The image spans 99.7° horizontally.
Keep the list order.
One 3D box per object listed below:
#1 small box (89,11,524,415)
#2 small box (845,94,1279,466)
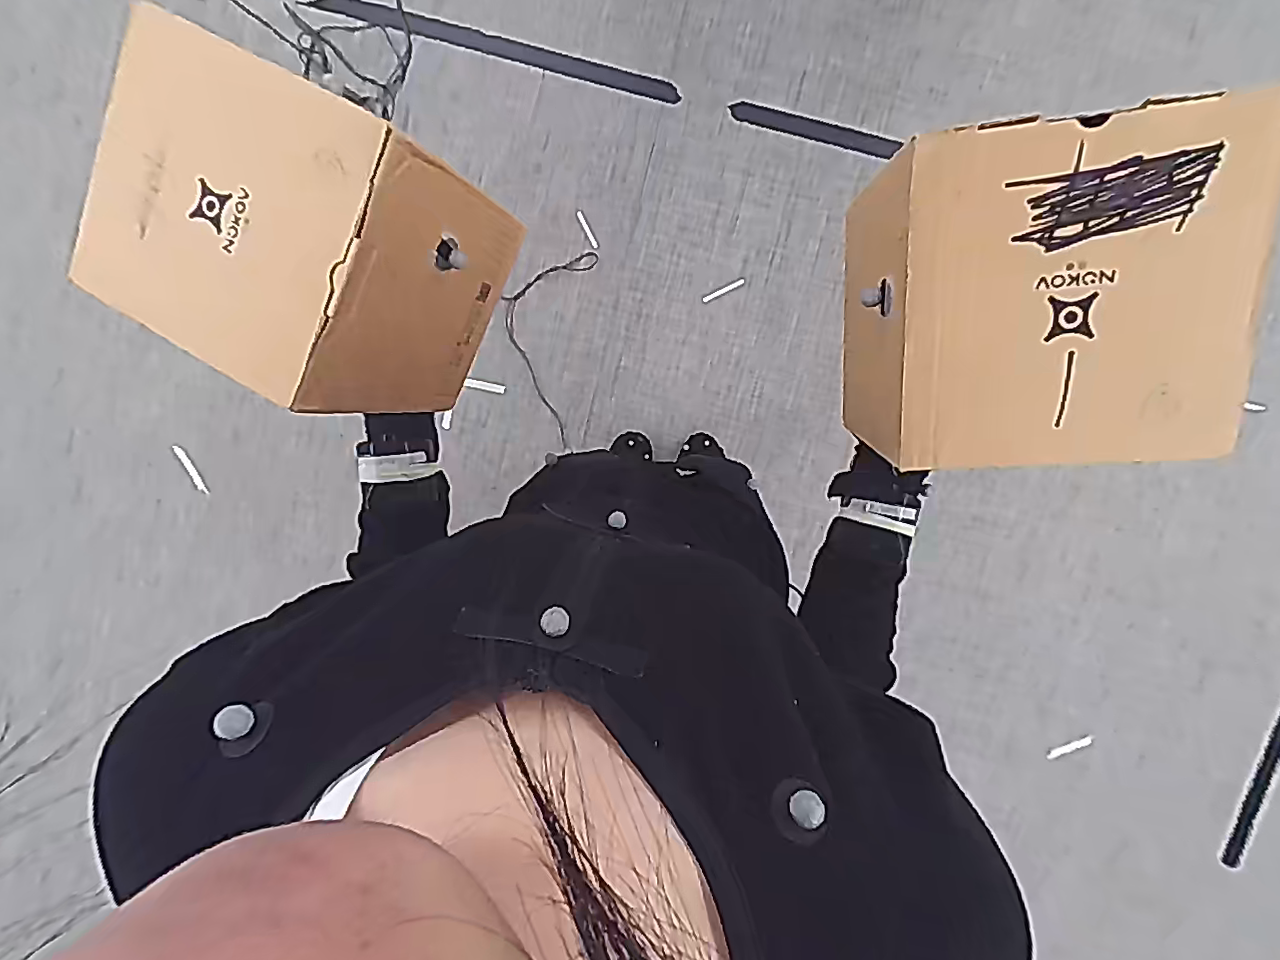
[{"bbox_3d":[-0.211,-0.159,0.382,0.179,0.176,0.168,29,102,8],"label":"small box"},{"bbox_3d":[0.239,-0.114,0.360,0.168,0.176,0.179,-2,105,10],"label":"small box"}]
